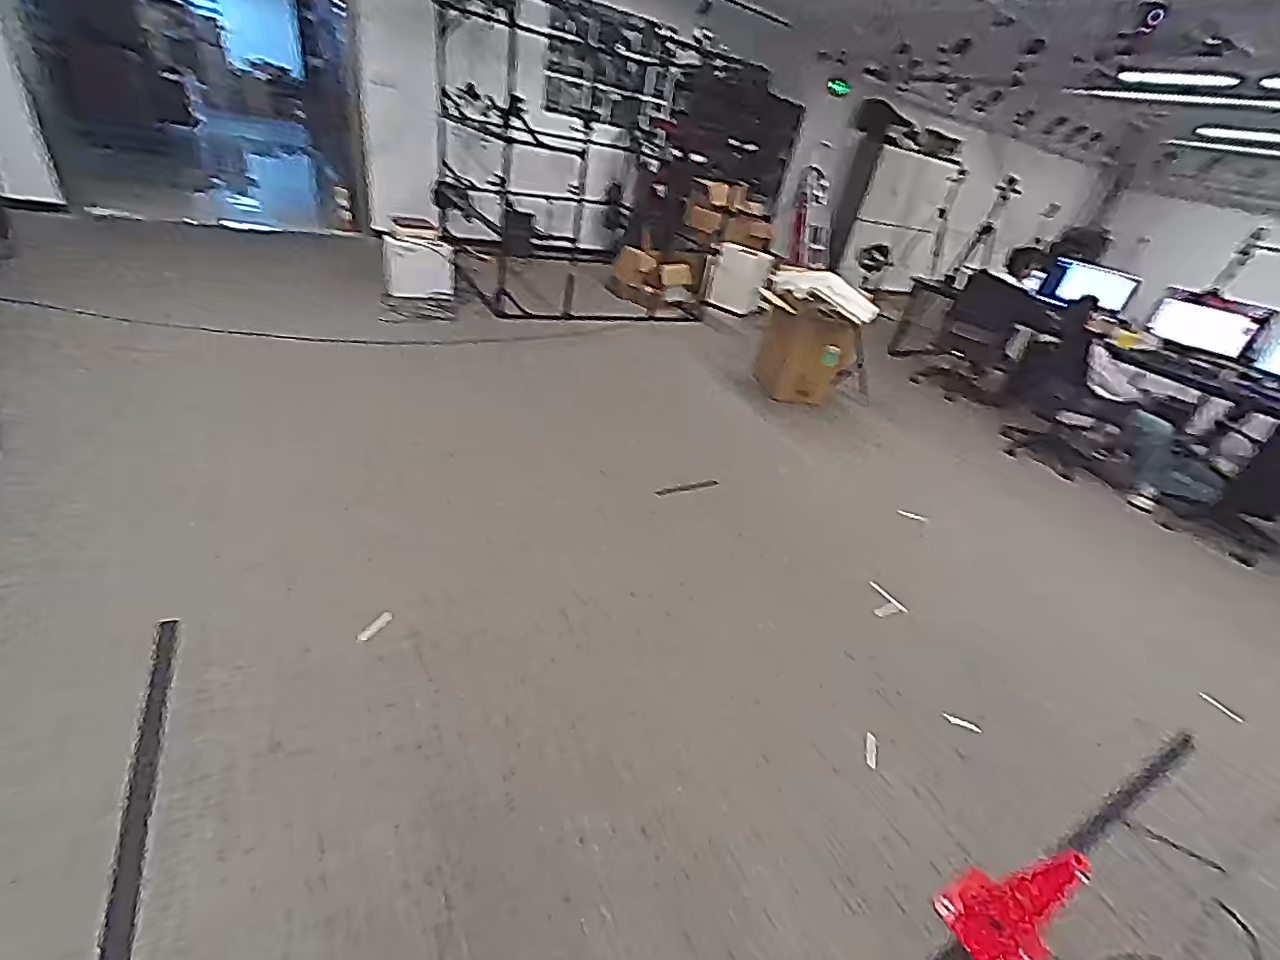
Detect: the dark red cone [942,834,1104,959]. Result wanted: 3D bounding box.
[{"bbox_3d":[0.888,0.904,1.212,0.202,0.394,0.201,-8,39,-30],"label":"dark red cone"}]
